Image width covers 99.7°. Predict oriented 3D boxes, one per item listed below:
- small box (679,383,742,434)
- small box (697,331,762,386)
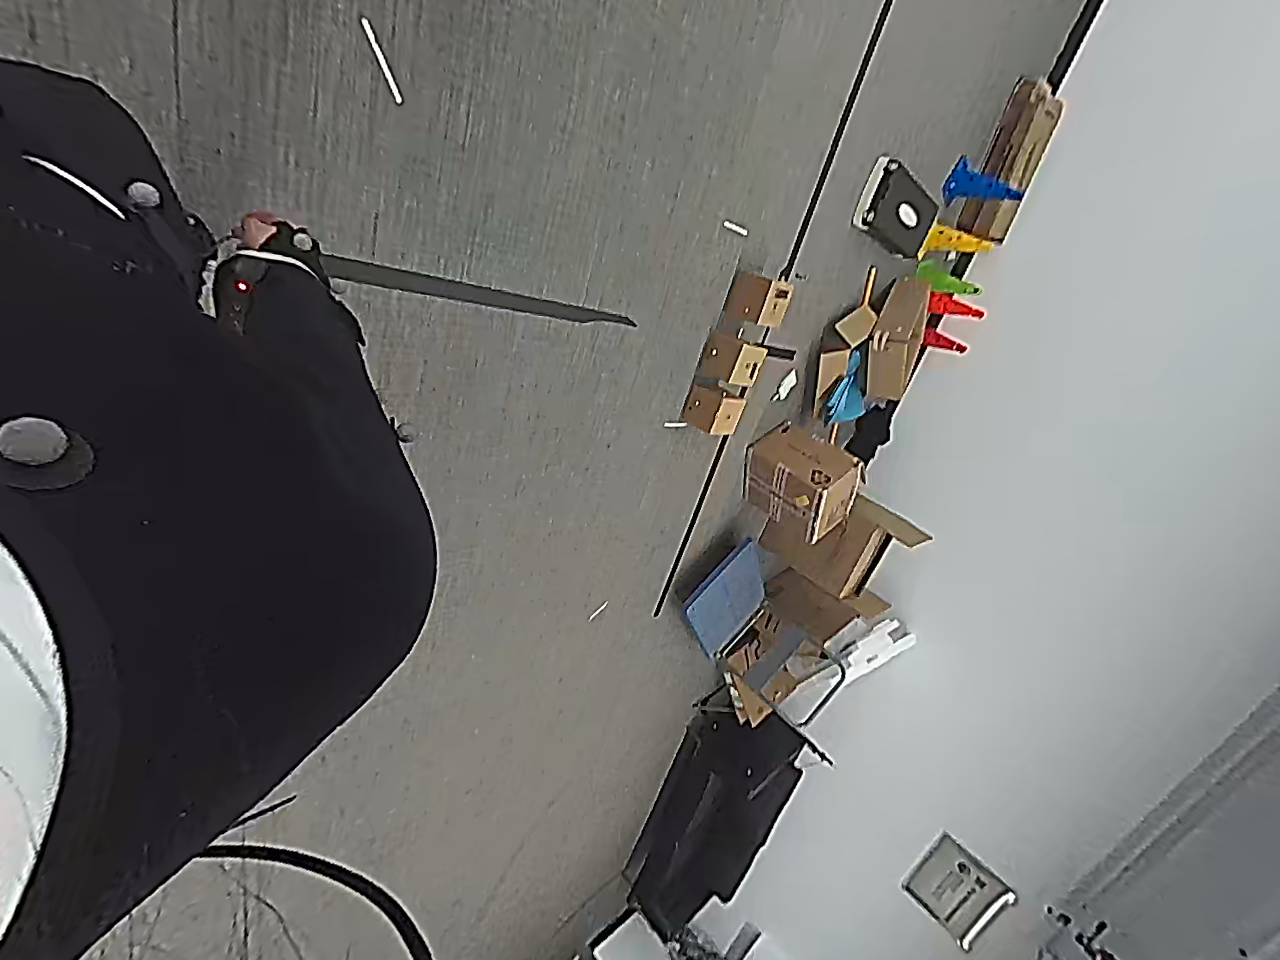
[{"bbox_3d":[0.303,-0.310,2.341,0.179,0.176,0.168,-6,124,-46],"label":"small box"},{"bbox_3d":[0.369,-0.506,2.247,0.179,0.176,0.168,-3,121,-47],"label":"small box"}]
